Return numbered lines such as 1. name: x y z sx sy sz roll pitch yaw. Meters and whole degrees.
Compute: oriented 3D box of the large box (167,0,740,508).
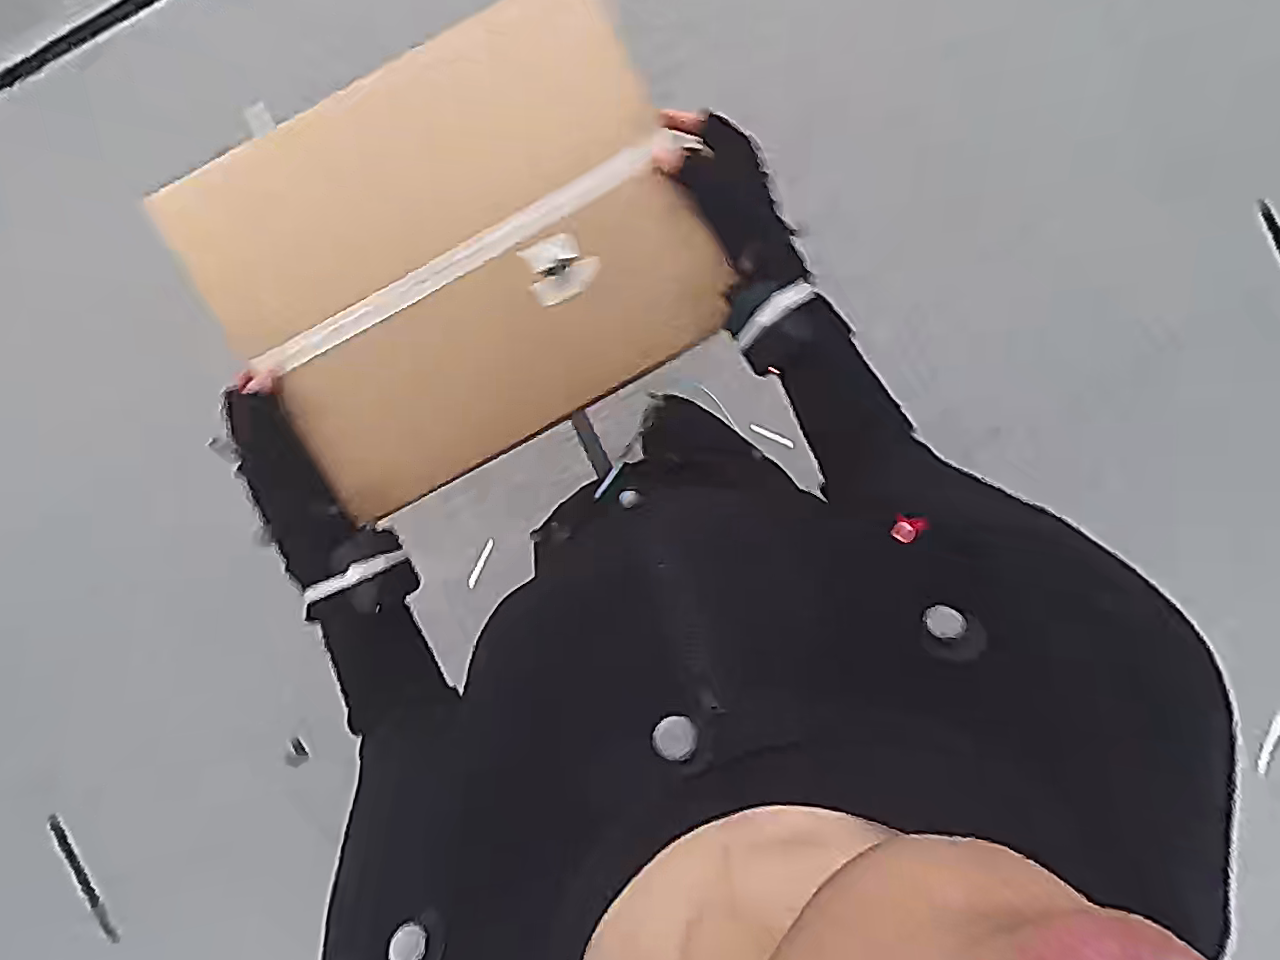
1. large box: -0.165 -0.218 0.617 0.408 0.320 0.320 -29 100 -2
